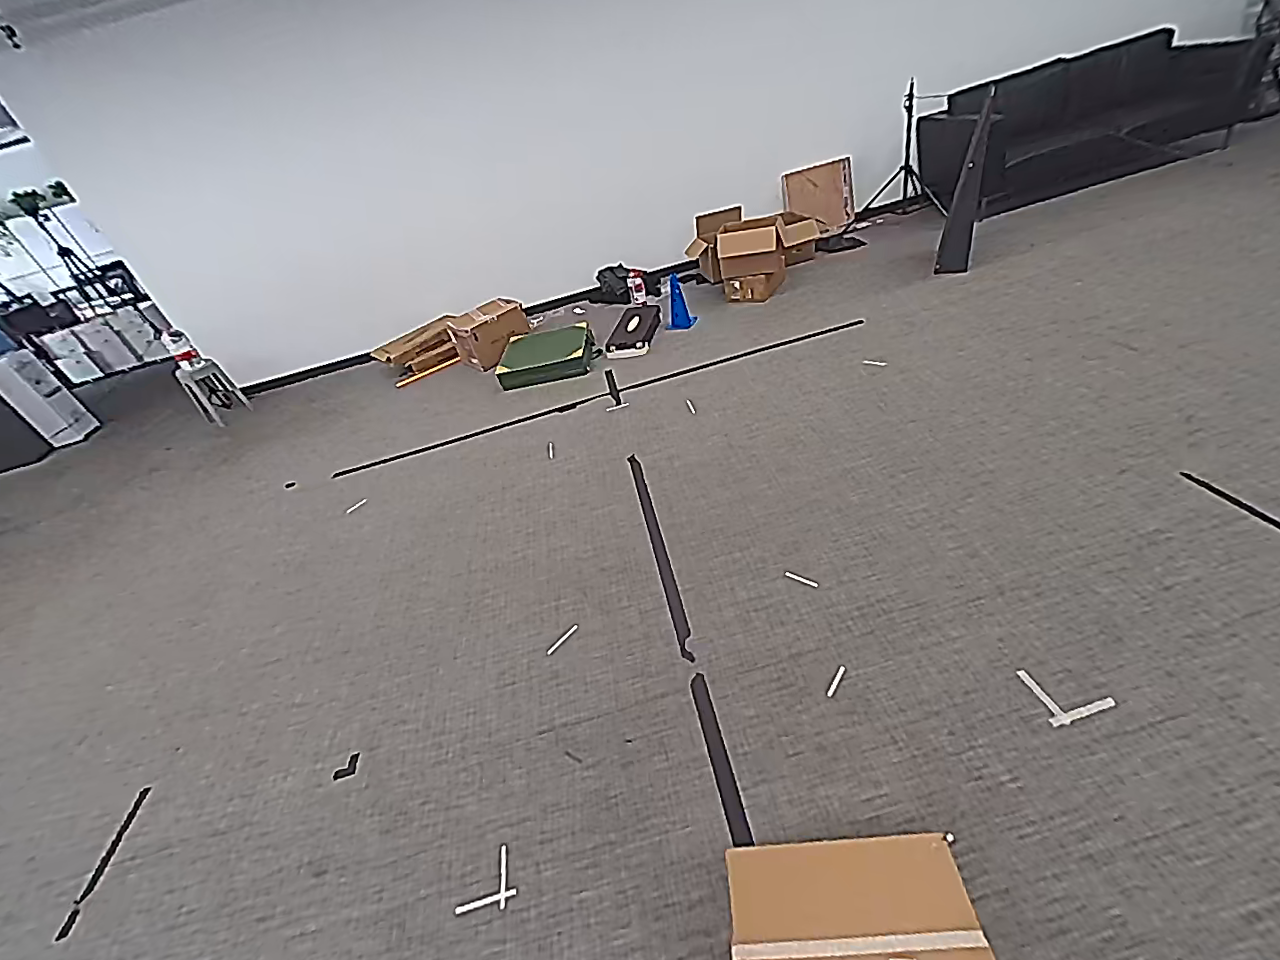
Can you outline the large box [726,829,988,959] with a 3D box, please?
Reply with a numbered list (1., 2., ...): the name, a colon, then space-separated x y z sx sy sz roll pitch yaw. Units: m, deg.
1. large box: 0.391 0.894 0.998 0.408 0.320 0.320 -9 37 7
